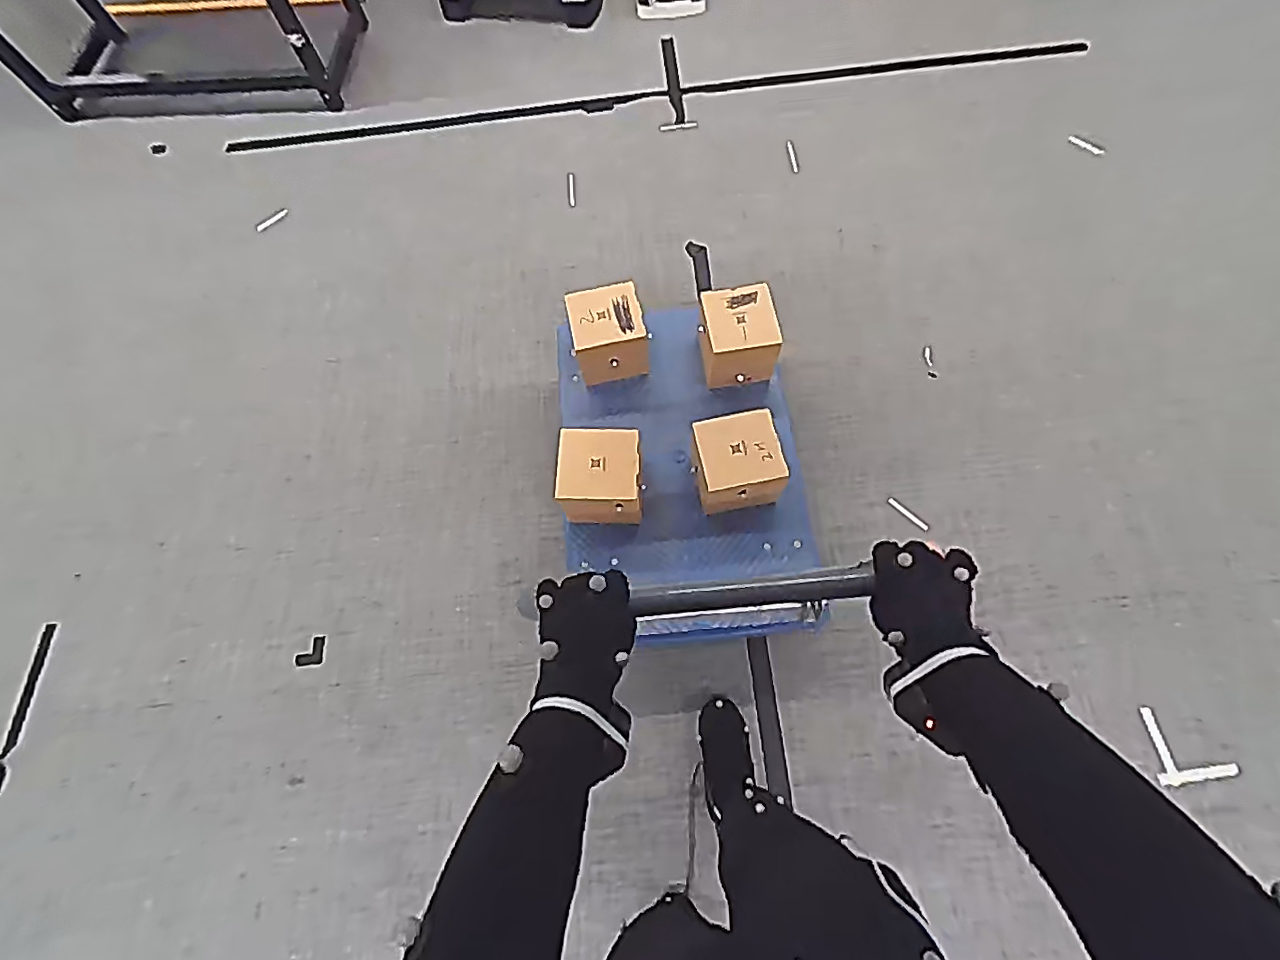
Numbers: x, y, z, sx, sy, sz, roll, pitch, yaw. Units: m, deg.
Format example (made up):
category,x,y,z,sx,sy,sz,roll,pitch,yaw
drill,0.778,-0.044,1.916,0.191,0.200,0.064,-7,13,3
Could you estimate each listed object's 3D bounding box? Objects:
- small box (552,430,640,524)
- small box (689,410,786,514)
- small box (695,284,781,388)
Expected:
category,x,y,z,sx,sy,sz,roll,pitch,yaw
small box,-0.092,-0.001,1.221,0.179,0.176,0.168,1,68,1
small box,0.210,-0.034,1.218,0.179,0.176,0.168,-11,69,-1
small box,0.234,-0.351,1.337,0.168,0.176,0.179,-9,70,0
